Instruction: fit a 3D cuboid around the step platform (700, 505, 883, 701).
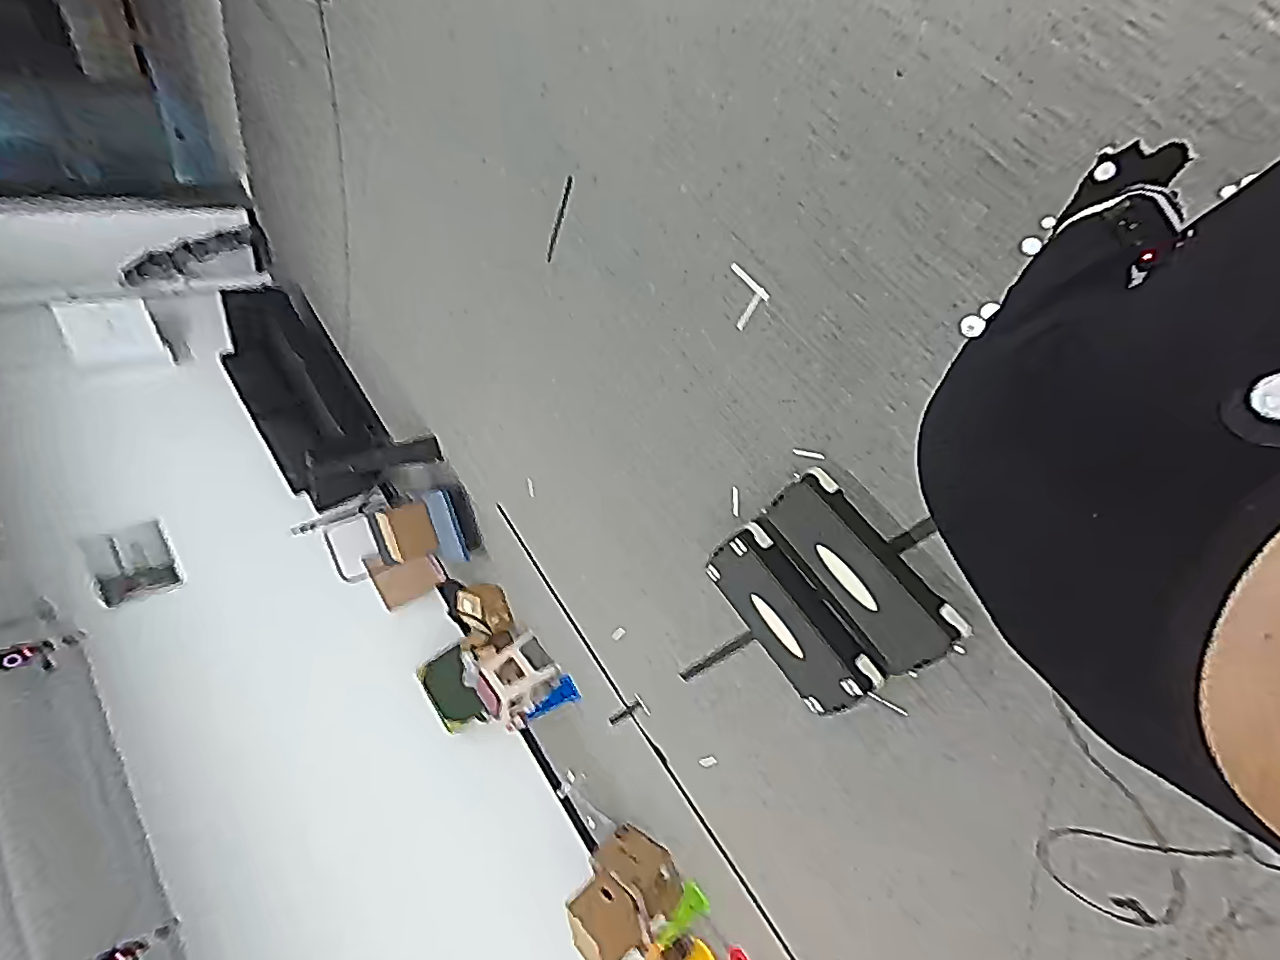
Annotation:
[{"bbox_3d":[0.515,0.433,1.926,0.684,0.204,0.286,53,140,18],"label":"step platform"}]
